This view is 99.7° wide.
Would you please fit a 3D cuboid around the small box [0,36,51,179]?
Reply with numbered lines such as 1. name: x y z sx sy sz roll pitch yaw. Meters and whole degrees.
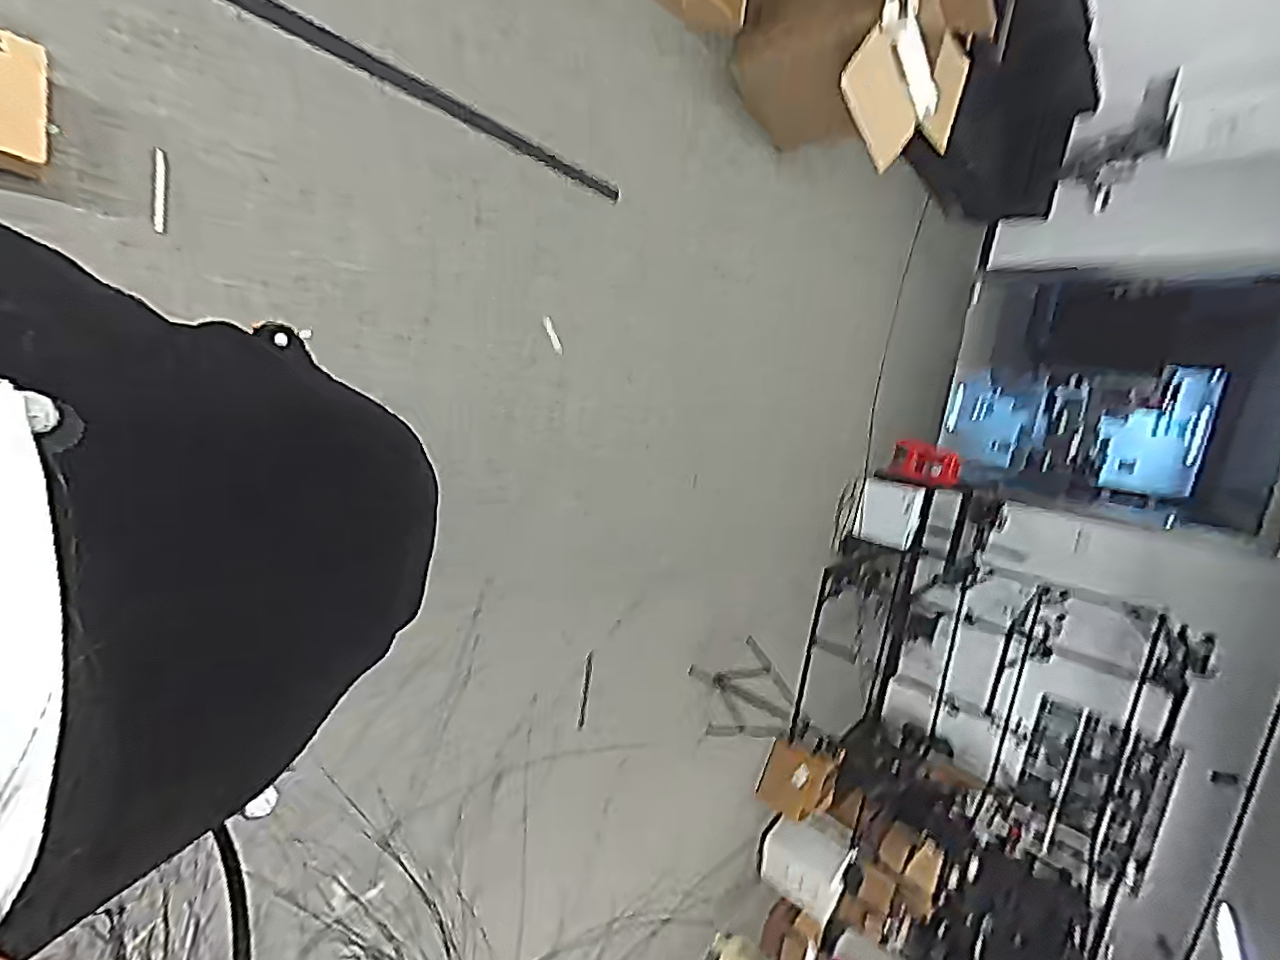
1. small box: -1.046 -0.597 0.844 0.168 0.176 0.179 1 102 -49
